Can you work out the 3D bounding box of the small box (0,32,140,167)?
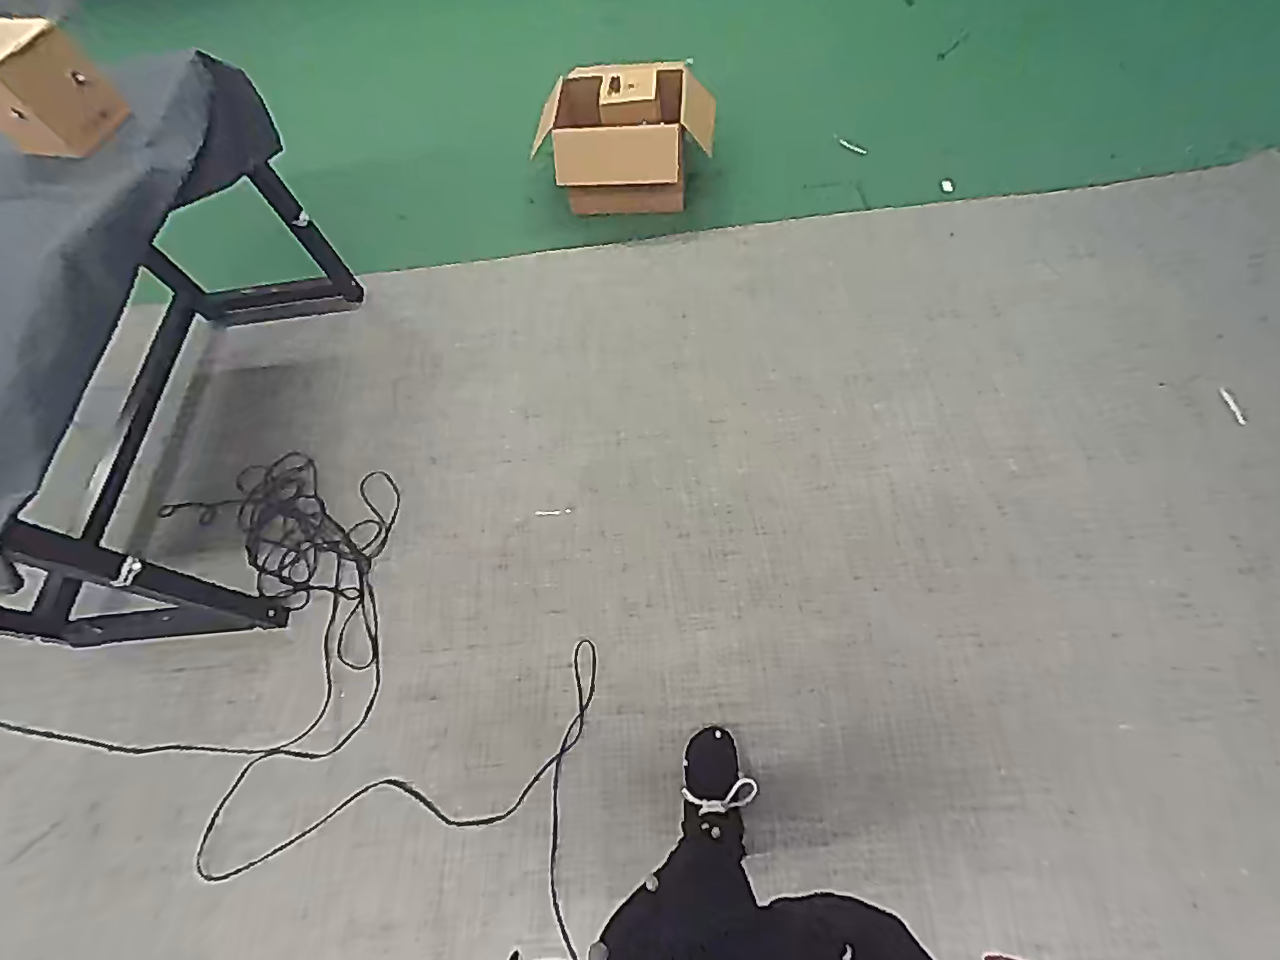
[{"bbox_3d":[-1.191,-0.763,1.093,0.179,0.176,0.168,10,64,13],"label":"small box"}]
